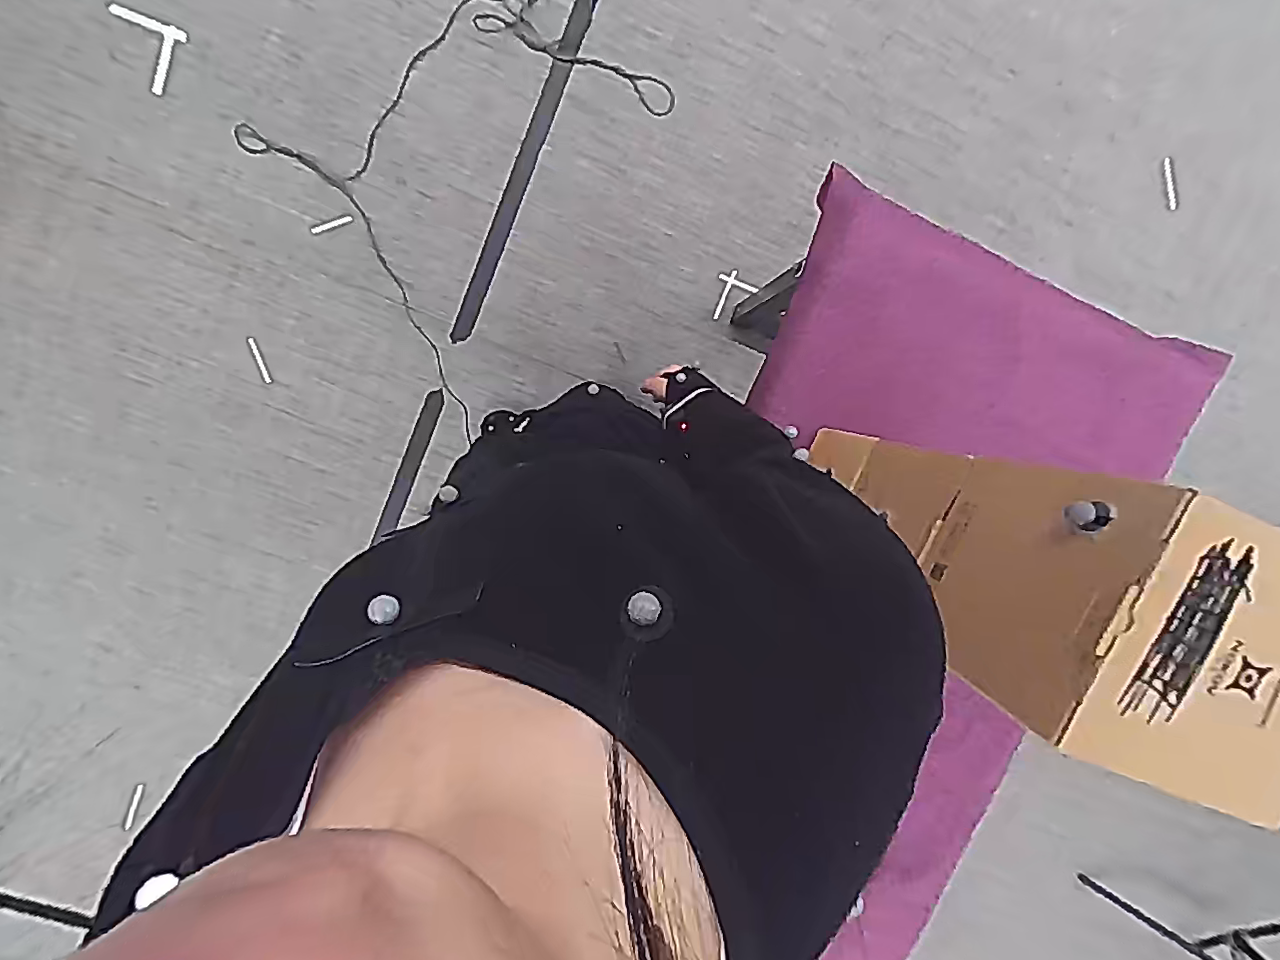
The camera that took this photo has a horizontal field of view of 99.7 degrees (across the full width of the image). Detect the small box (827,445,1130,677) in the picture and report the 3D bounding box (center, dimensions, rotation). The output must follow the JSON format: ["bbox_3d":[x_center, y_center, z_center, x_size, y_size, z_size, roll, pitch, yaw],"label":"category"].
[{"bbox_3d":[0.327,0.069,0.565,0.179,0.176,0.168,21,97,-7],"label":"small box"}]

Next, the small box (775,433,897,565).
[{"bbox_3d":[0.308,0.043,0.726,0.179,0.176,0.168,23,97,-8],"label":"small box"}]
